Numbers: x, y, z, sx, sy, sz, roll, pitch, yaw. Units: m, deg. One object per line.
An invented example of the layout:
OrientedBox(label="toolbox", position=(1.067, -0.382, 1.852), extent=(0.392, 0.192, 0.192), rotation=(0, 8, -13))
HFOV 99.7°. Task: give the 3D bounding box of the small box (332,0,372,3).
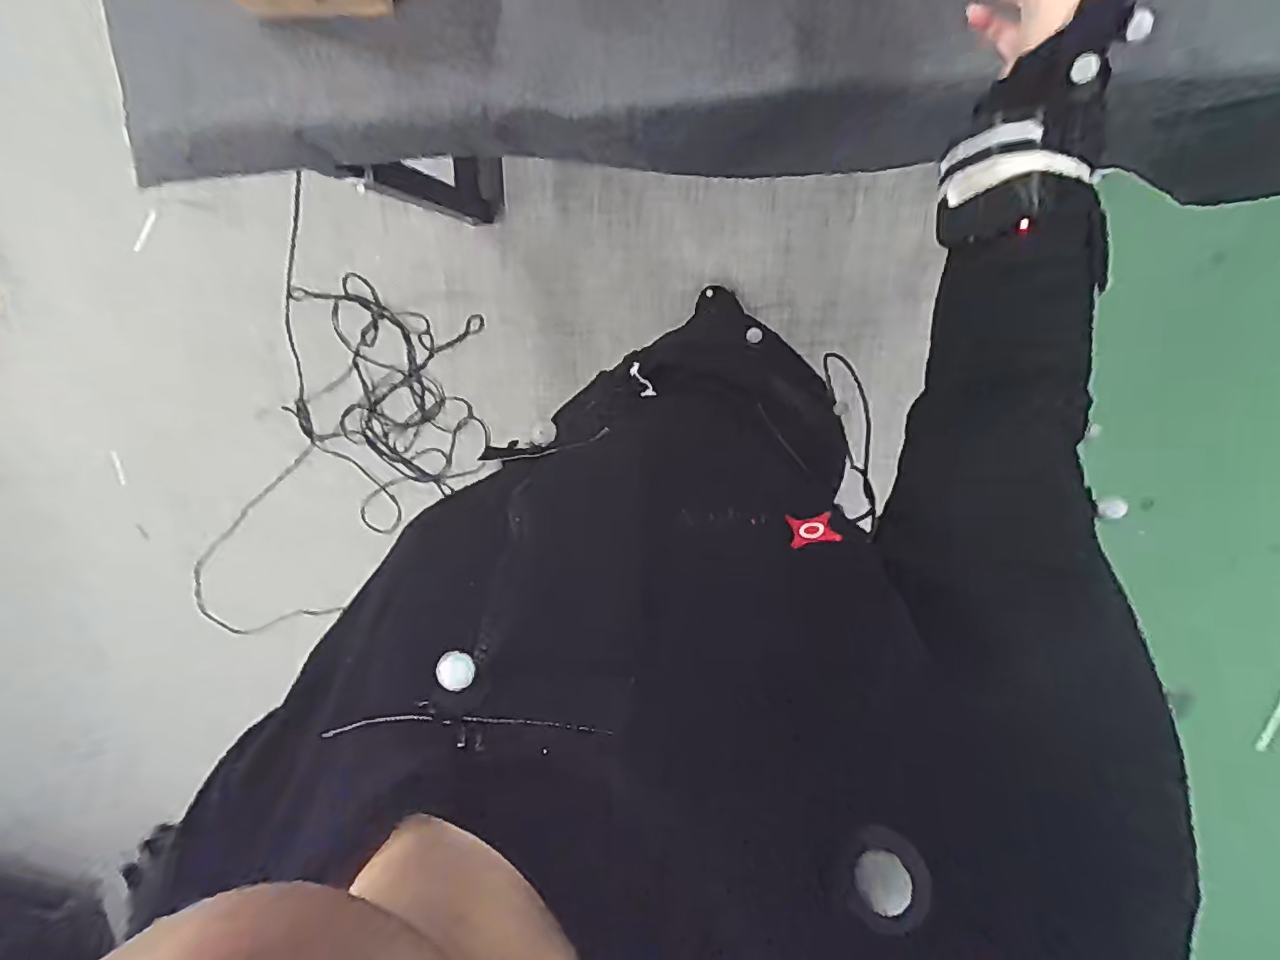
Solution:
OrientedBox(label="small box", position=(-0.326, -0.518, 0.424), extent=(0.168, 0.176, 0.179), rotation=(6, 106, 8))
